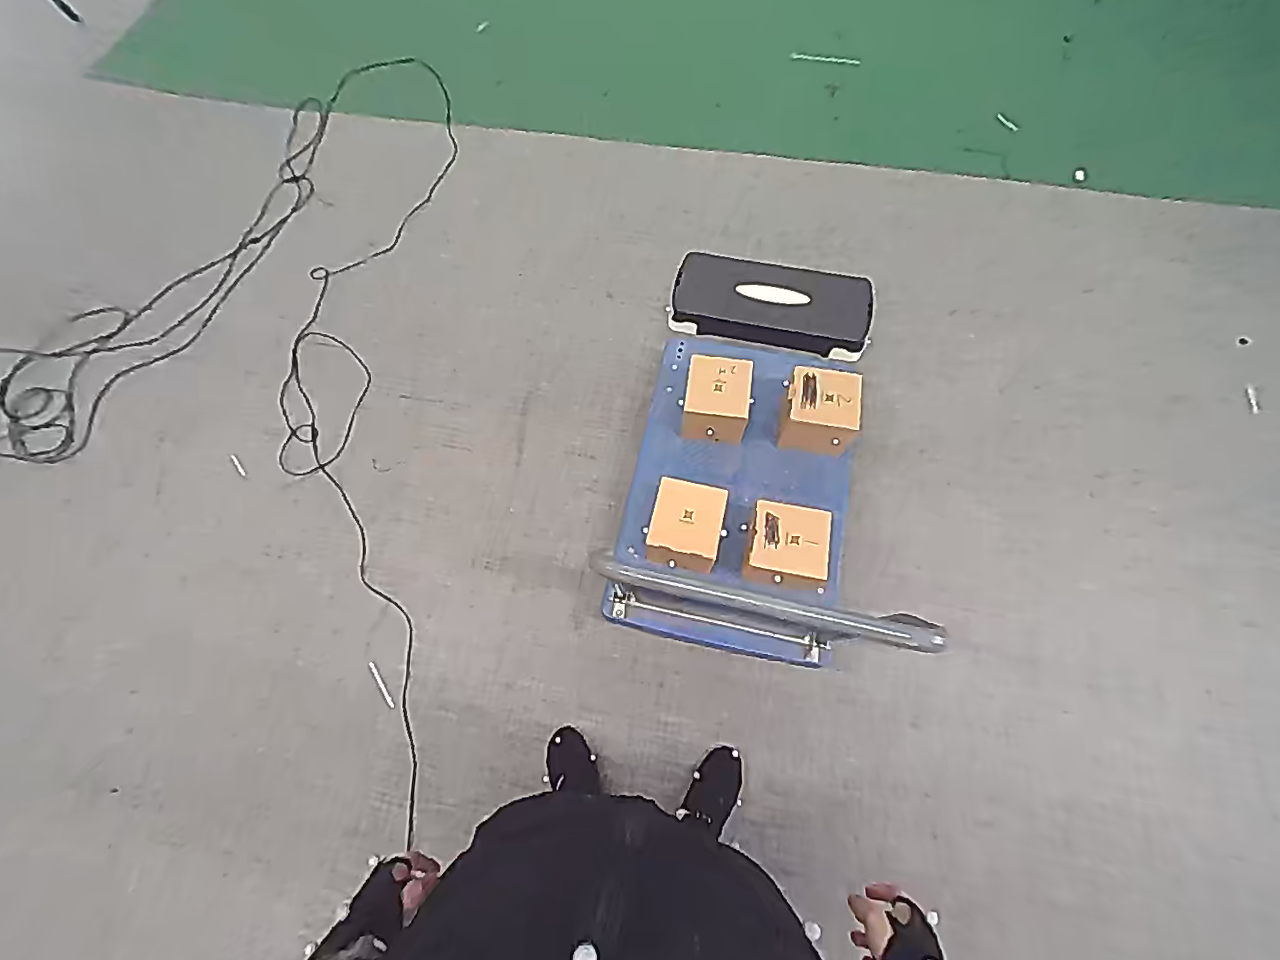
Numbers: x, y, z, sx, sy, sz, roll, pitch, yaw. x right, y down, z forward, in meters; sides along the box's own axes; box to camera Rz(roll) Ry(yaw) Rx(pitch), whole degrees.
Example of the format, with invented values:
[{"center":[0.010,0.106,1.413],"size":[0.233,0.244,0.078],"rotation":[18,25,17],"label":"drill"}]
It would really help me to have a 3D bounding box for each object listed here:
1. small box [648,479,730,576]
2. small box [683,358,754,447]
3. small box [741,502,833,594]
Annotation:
[{"center":[0.116,0.123,1.344],"size":[0.168,0.176,0.179],"rotation":[13,69,5],"label":"small box"},{"center":[0.210,-0.206,1.474],"size":[0.168,0.176,0.179],"rotation":[8,69,4],"label":"small box"},{"center":[0.352,0.171,1.316],"size":[0.179,0.176,0.168],"rotation":[11,69,5],"label":"small box"}]
